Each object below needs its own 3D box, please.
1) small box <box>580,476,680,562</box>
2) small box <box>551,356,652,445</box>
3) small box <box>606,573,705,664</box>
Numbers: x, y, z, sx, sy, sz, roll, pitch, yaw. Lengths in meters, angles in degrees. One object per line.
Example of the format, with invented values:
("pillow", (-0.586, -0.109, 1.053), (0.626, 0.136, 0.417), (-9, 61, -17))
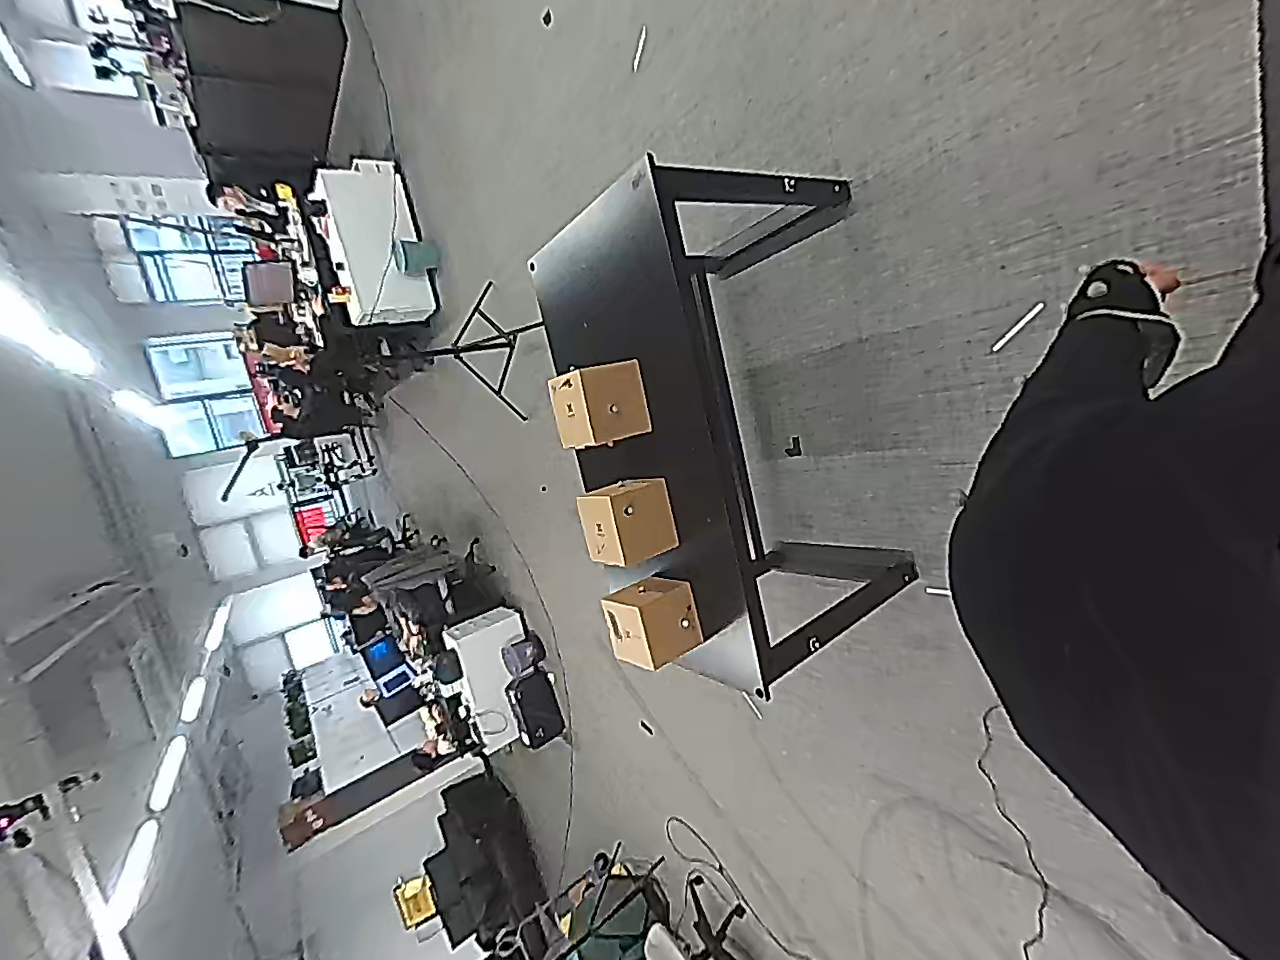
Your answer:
("small box", (-0.024, 0.090, 1.363), (0.168, 0.176, 0.179), (-3, 103, 56))
("small box", (-0.091, -0.193, 1.327), (0.168, 0.176, 0.179), (1, 107, 55))
("small box", (0.040, 0.347, 1.396), (0.179, 0.176, 0.168), (-6, 100, 55))
